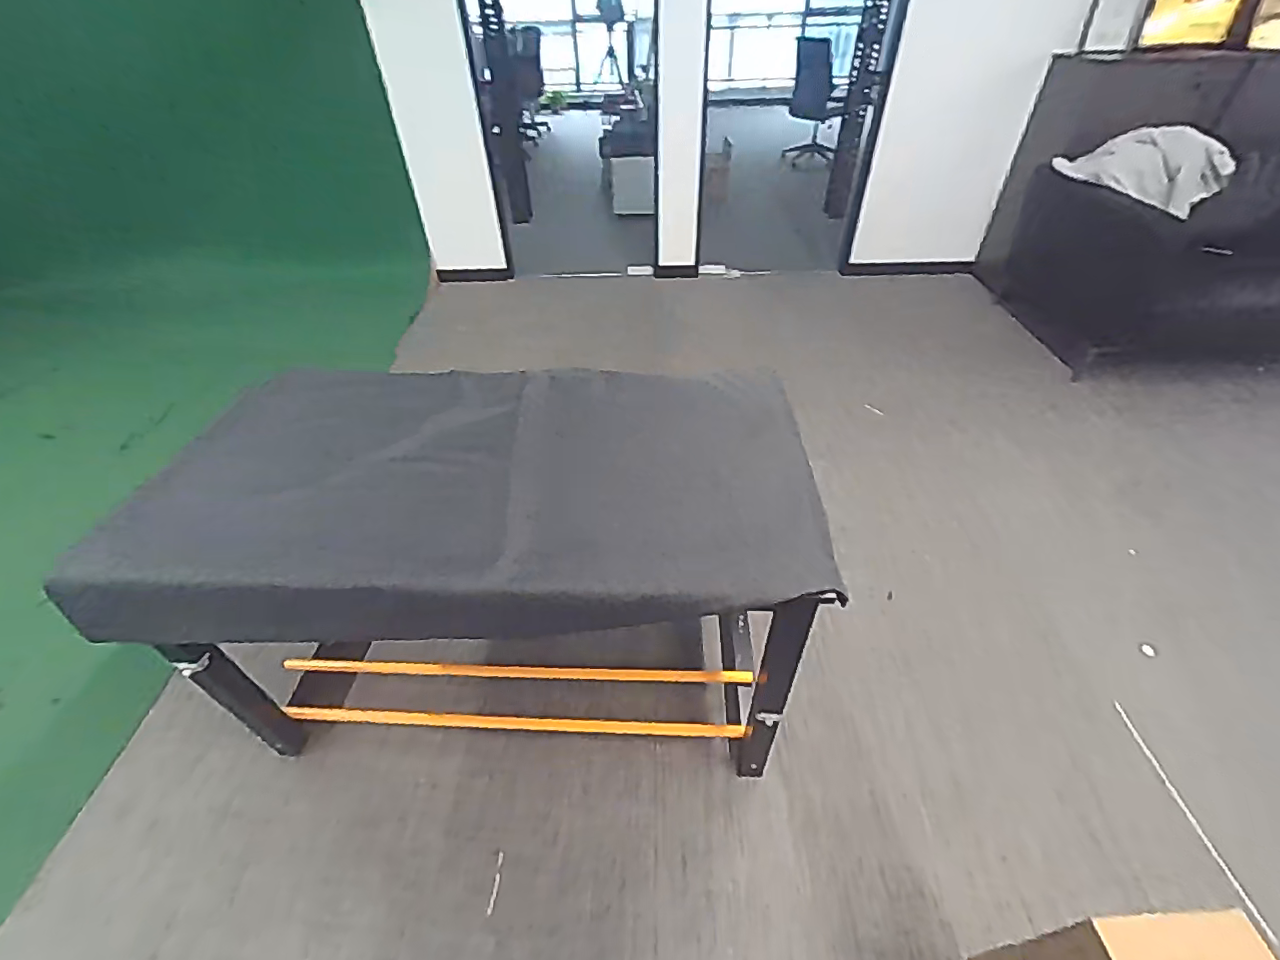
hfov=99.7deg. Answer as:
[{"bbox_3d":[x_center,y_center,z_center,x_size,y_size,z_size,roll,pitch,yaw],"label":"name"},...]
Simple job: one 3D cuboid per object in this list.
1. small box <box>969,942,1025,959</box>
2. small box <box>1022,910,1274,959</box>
[{"bbox_3d":[0.547,0.687,0.663,0.168,0.176,0.179,-2,43,-1],"label":"small box"},{"bbox_3d":[0.546,0.568,0.552,0.168,0.176,0.179,-2,42,-2],"label":"small box"}]
